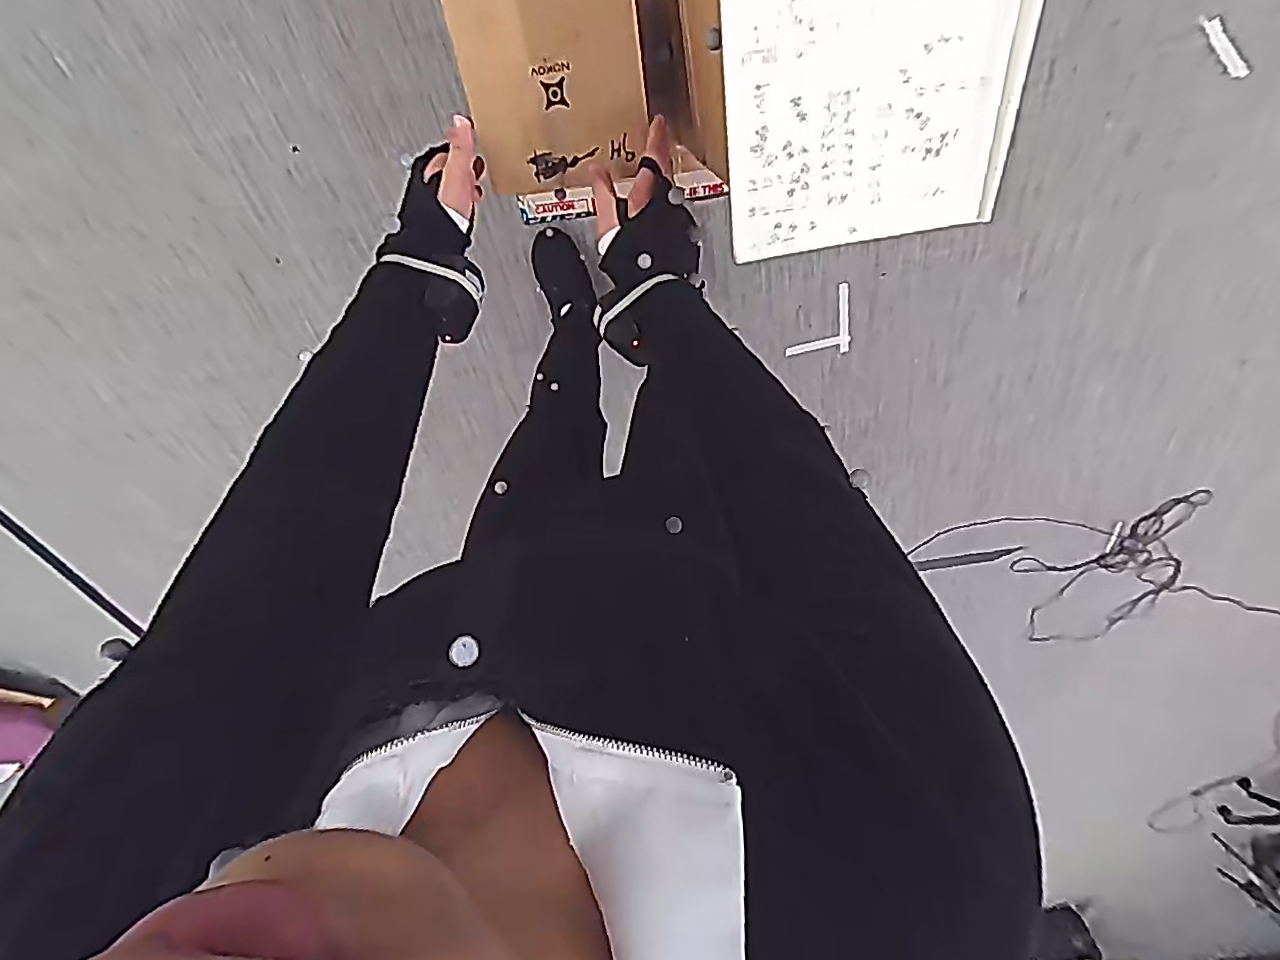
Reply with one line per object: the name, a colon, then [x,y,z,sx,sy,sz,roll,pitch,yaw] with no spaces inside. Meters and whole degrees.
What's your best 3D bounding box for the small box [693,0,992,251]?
small box: [0.140,-0.307,0.431,0.168,0.176,0.179,-9,129,2]
